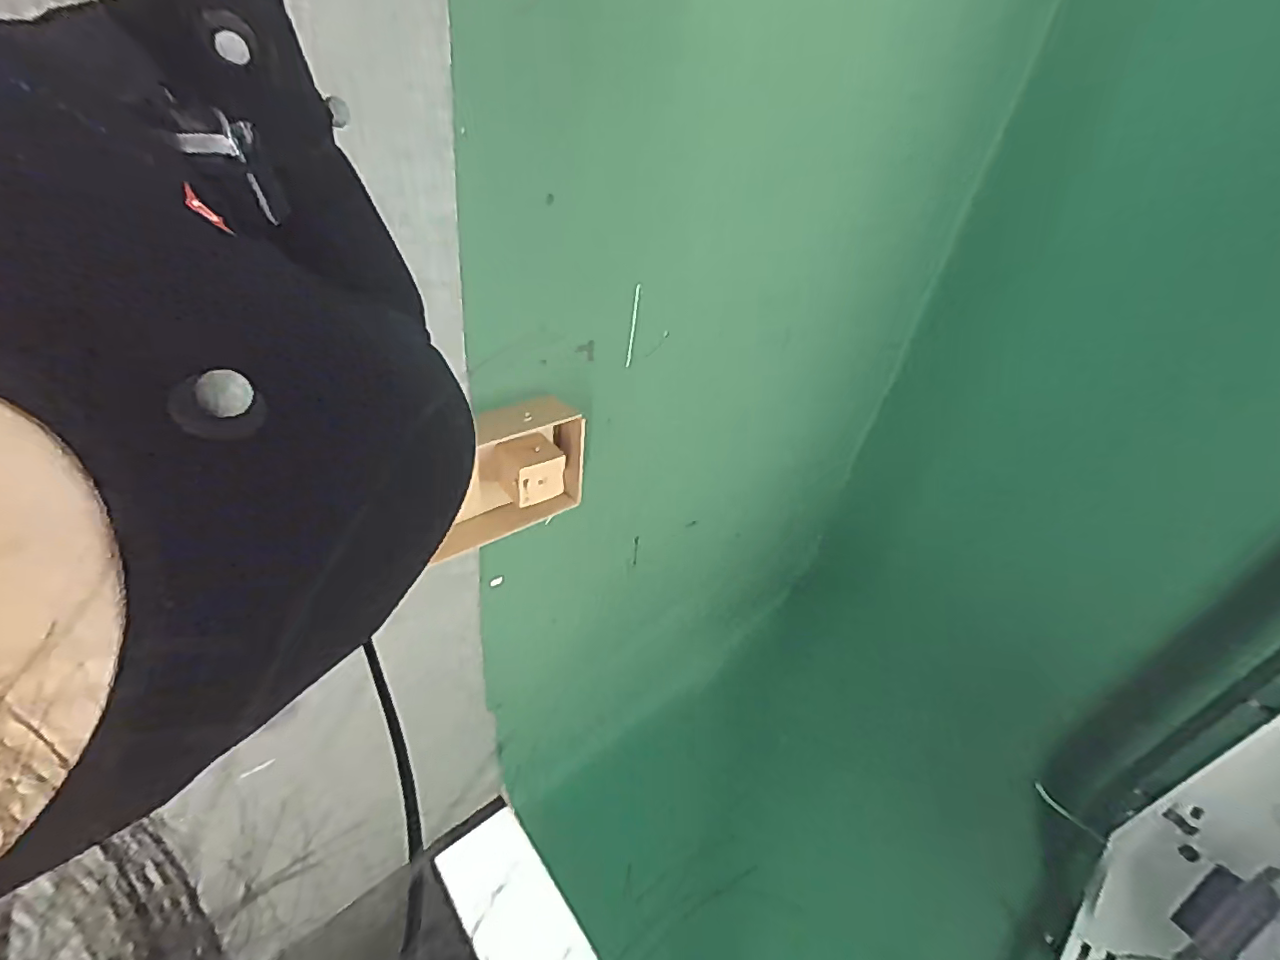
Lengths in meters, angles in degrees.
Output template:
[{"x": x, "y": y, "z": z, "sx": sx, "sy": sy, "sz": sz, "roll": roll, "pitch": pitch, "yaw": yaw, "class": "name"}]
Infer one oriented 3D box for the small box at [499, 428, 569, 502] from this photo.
[{"x": -0.366, "y": -0.058, "z": 1.863, "sx": 0.179, "sy": 0.176, "sz": 0.168, "roll": -21, "pitch": 137, "yaw": -34, "class": "small box"}]
